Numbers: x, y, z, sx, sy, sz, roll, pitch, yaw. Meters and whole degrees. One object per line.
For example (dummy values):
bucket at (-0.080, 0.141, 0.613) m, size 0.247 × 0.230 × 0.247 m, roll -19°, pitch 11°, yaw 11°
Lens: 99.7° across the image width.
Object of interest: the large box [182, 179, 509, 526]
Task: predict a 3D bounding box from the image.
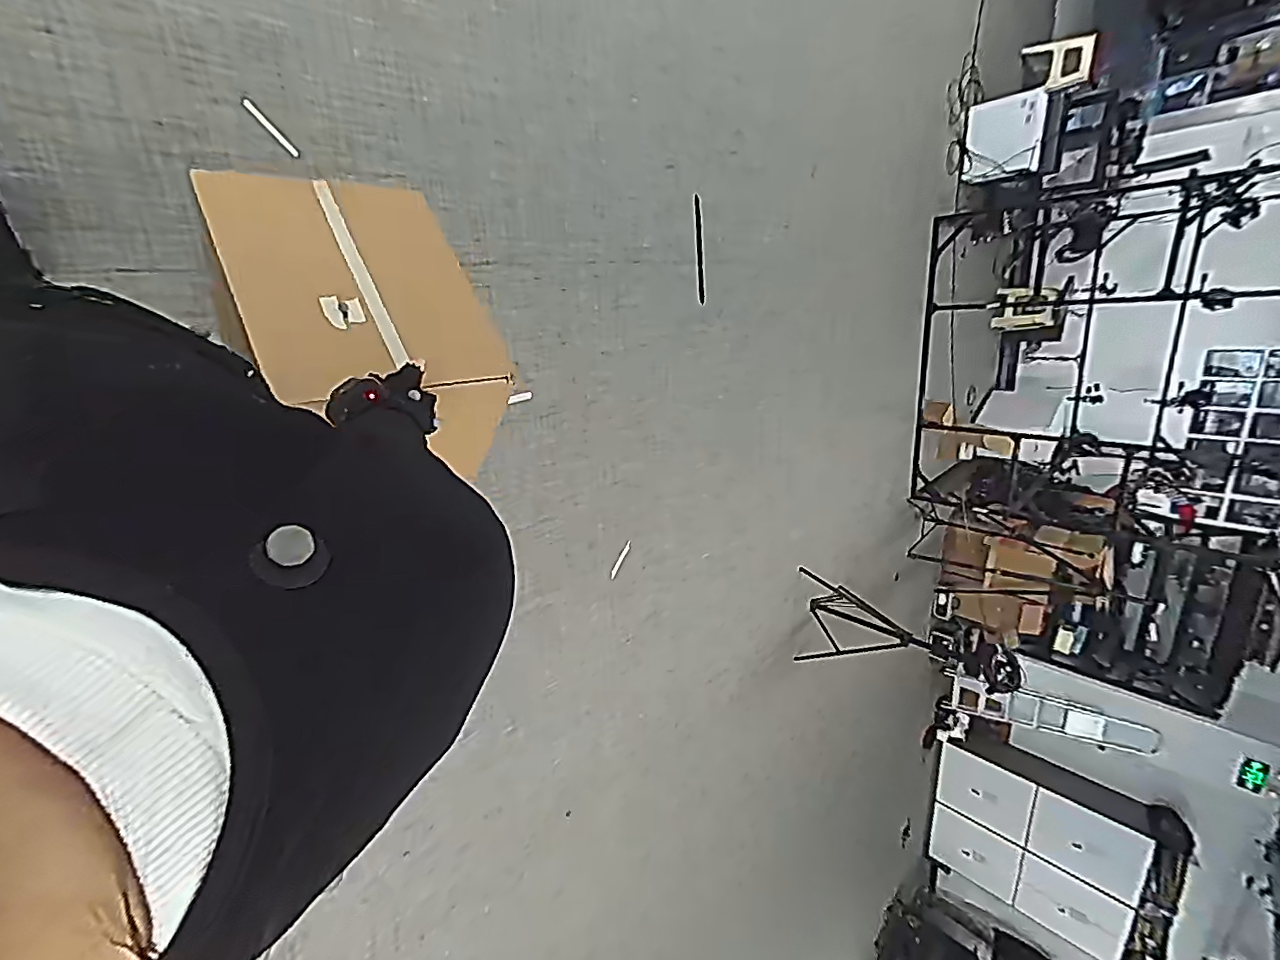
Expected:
large box at (-0.470, -0.198, 0.870) m, size 0.320 × 0.320 × 0.408 m, roll -17°, pitch 69°, yaw -37°
